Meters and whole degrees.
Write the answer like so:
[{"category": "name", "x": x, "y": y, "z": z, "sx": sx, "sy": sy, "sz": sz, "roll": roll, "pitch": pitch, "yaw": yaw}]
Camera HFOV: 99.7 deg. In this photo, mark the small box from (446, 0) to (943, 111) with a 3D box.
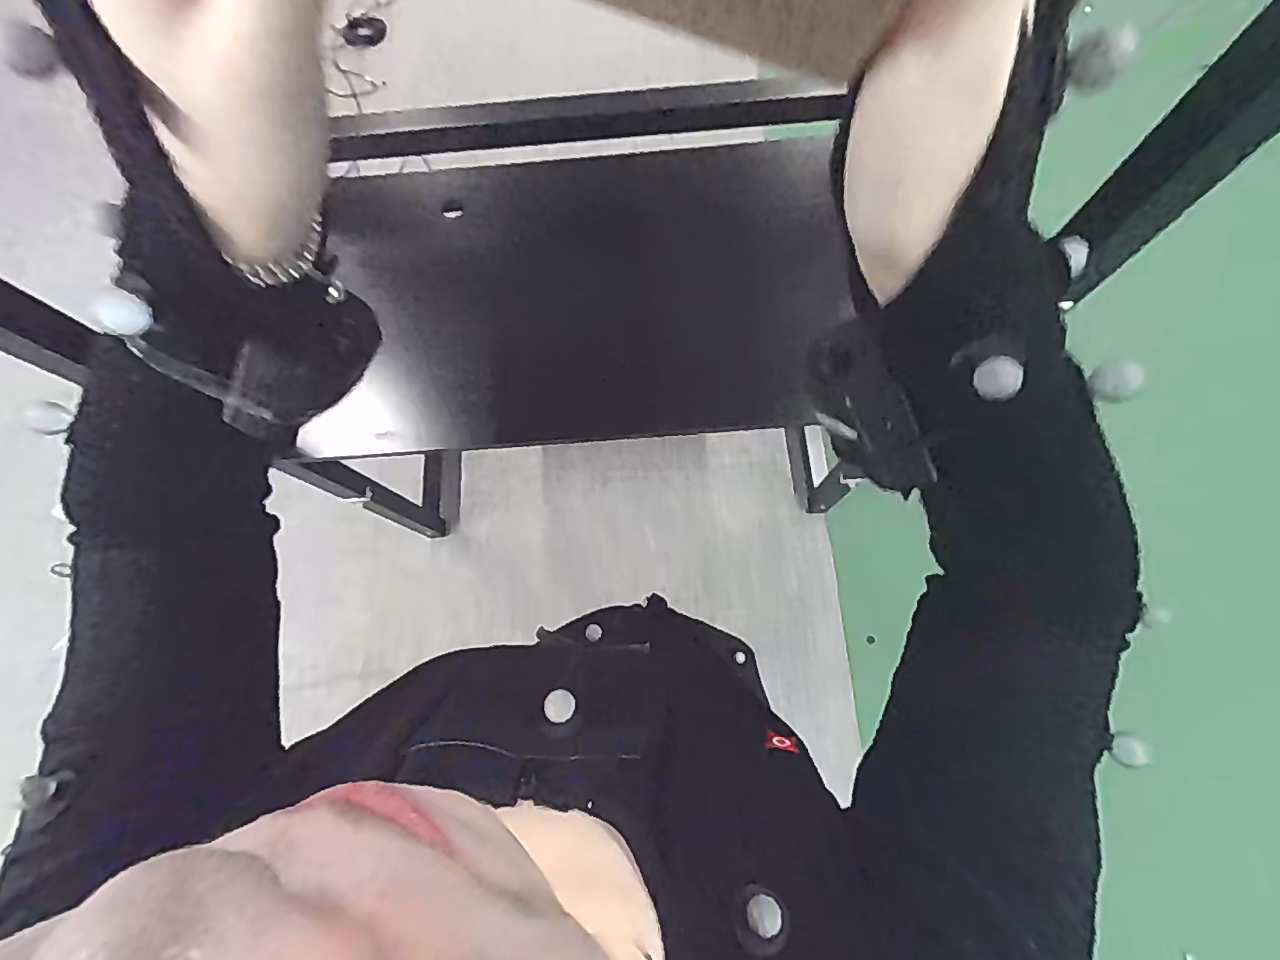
[{"category": "small box", "x": -0.002, "y": -0.173, "z": 0.054, "sx": 0.179, "sy": 0.176, "sz": 0.168, "roll": 20, "pitch": 107, "yaw": 1}]
